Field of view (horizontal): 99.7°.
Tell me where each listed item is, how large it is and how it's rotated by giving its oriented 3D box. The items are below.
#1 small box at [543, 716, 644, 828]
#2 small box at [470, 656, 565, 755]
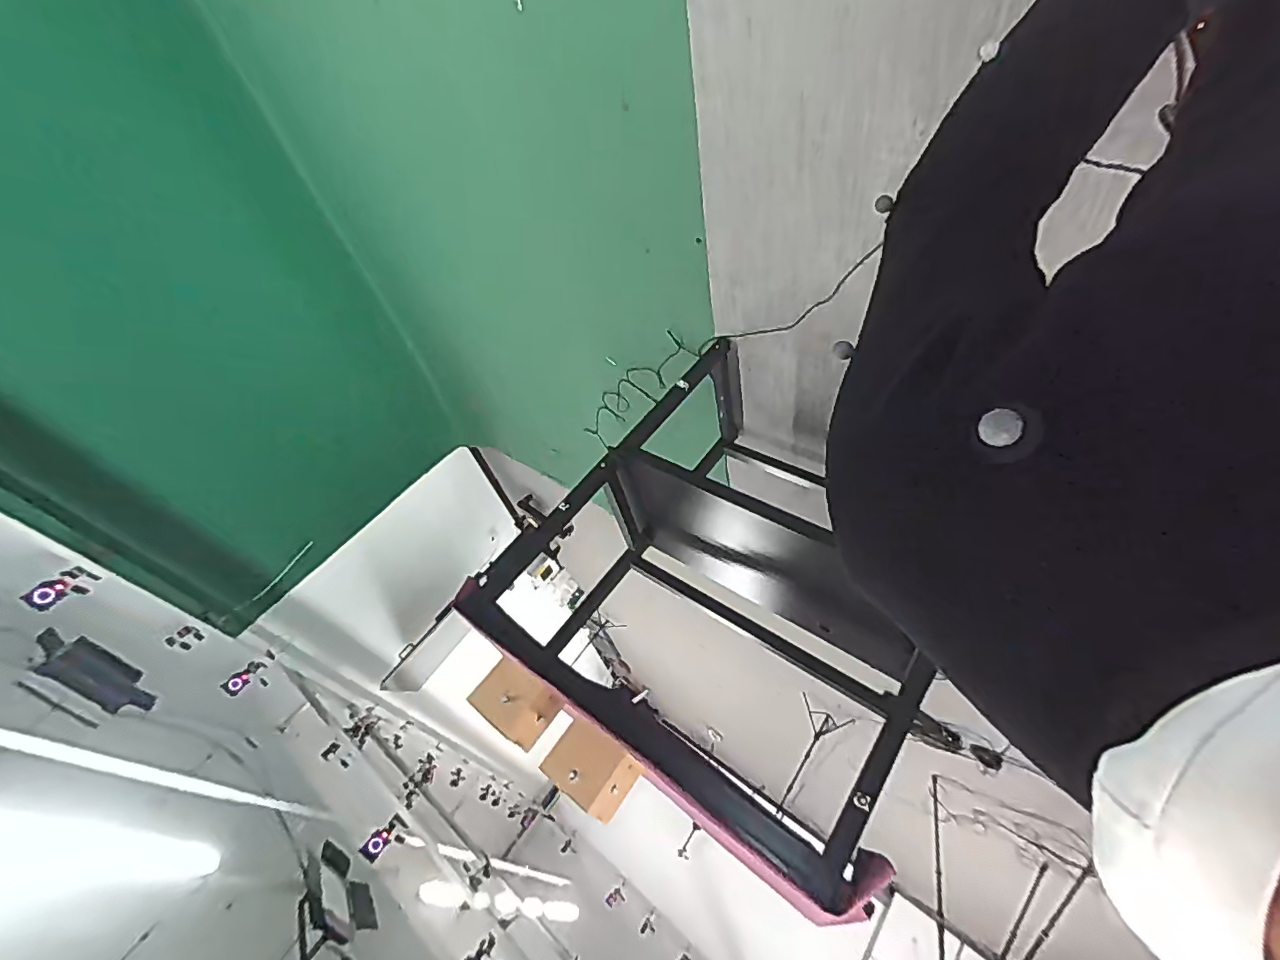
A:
[{"bbox_3d":[-0.107,0.737,1.374,0.179,0.176,0.168,24,150,33],"label":"small box"},{"bbox_3d":[-0.332,0.627,1.516,0.179,0.176,0.168,23,148,31],"label":"small box"}]
